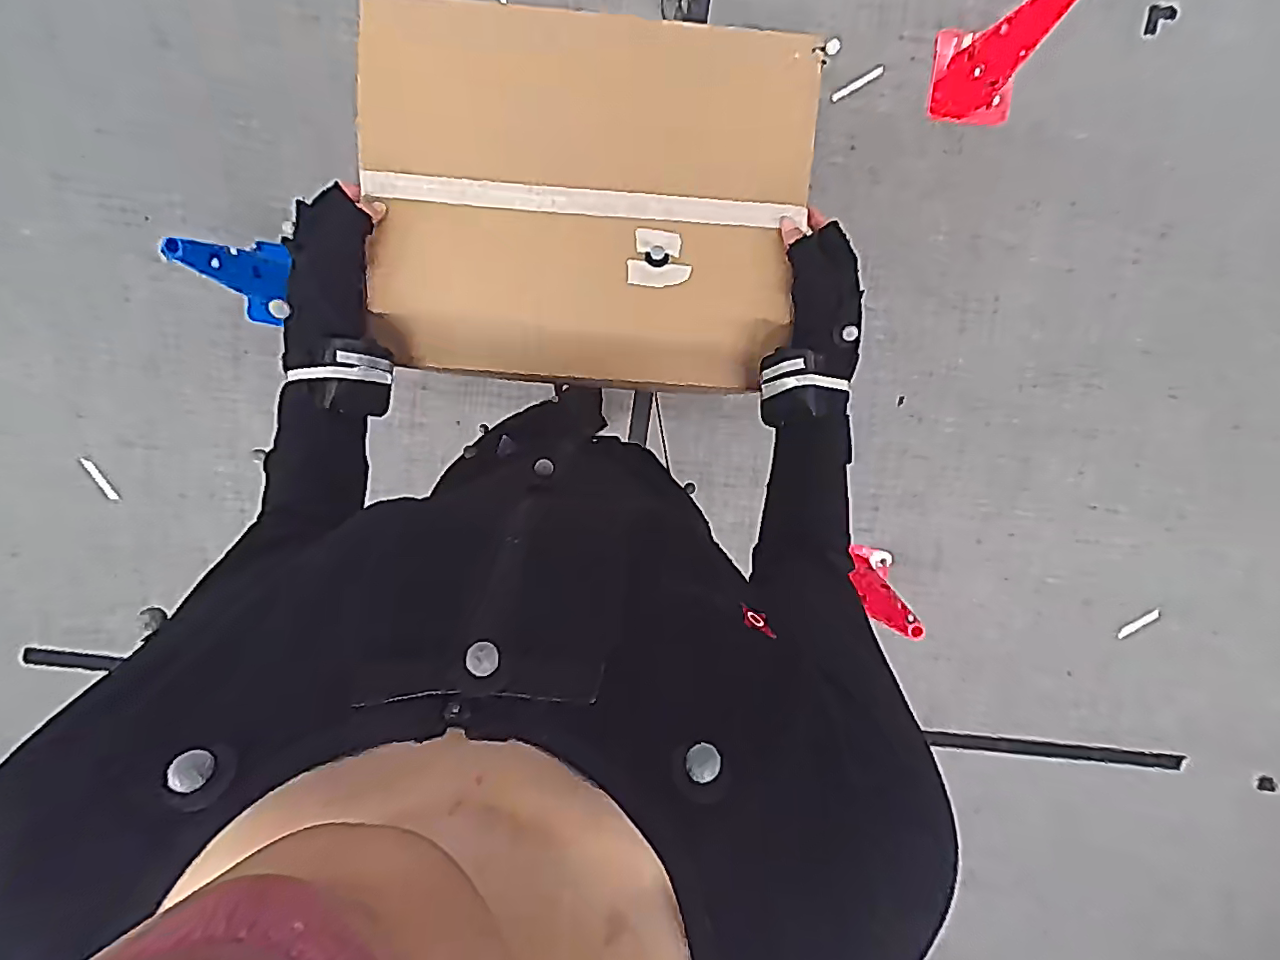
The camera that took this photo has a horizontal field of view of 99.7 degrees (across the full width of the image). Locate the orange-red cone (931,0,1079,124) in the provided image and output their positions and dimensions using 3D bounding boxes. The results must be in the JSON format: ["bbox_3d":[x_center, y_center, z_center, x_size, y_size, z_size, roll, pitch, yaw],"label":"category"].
[{"bbox_3d":[0.825,-0.967,1.157,0.198,0.360,0.199,4,97,-3],"label":"orange-red cone"}]

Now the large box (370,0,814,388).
[{"bbox_3d":[-0.055,-0.280,0.647,0.408,0.320,0.320,3,98,-3],"label":"large box"}]

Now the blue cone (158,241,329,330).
[{"bbox_3d":[-0.891,-0.463,1.213,0.192,0.380,0.193,10,98,-2],"label":"blue cone"}]

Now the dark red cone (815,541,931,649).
[{"bbox_3d":[0.591,0.302,1.315,0.201,0.394,0.202,13,98,-2],"label":"dark red cone"}]
